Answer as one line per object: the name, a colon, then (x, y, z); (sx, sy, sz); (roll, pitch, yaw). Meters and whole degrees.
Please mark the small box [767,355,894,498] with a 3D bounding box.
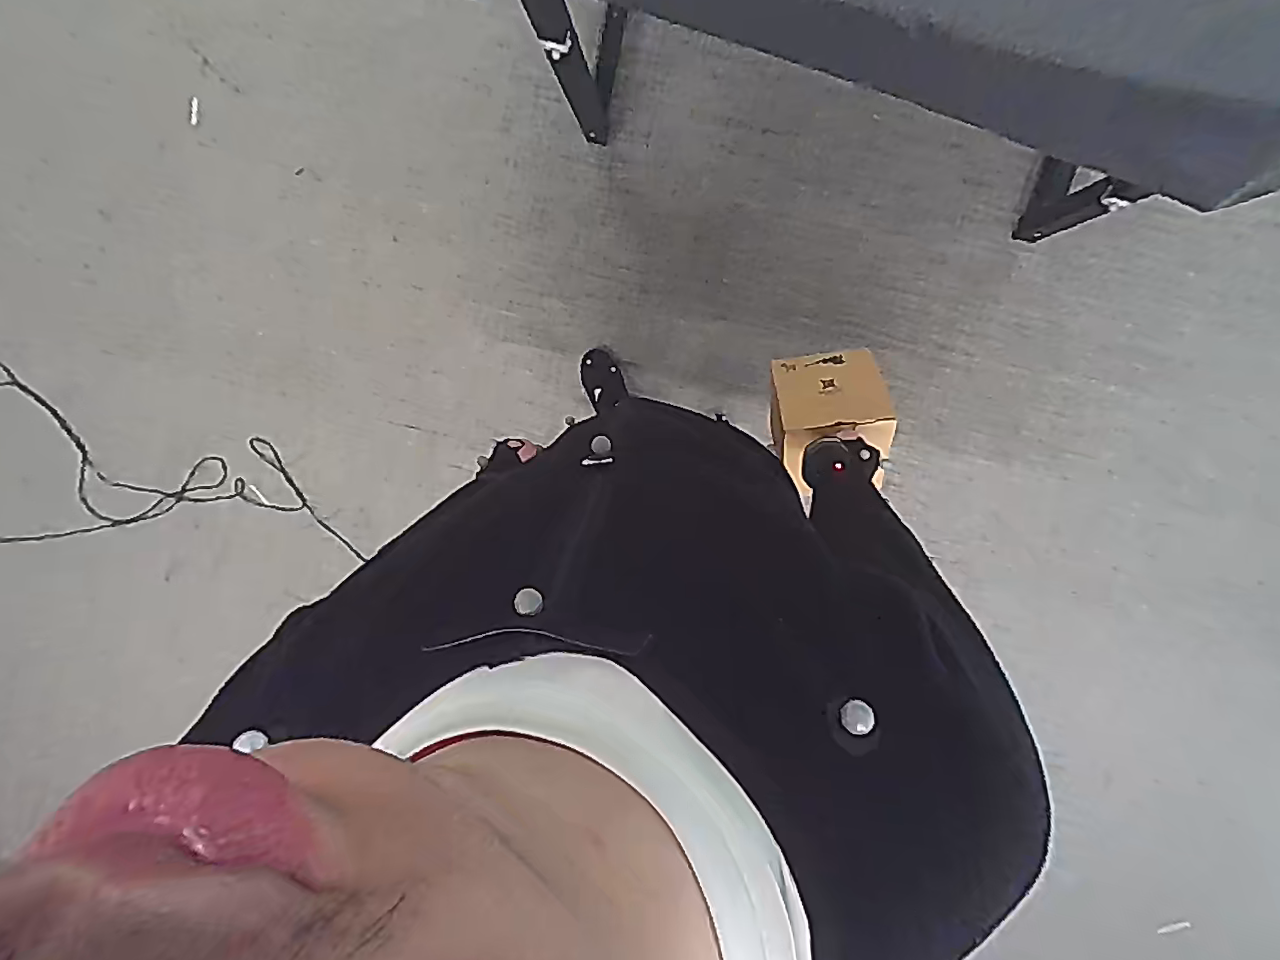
small box: (0.319, -0.083, 0.929); (0.168, 0.179, 0.176); (-9, 139, 9)
